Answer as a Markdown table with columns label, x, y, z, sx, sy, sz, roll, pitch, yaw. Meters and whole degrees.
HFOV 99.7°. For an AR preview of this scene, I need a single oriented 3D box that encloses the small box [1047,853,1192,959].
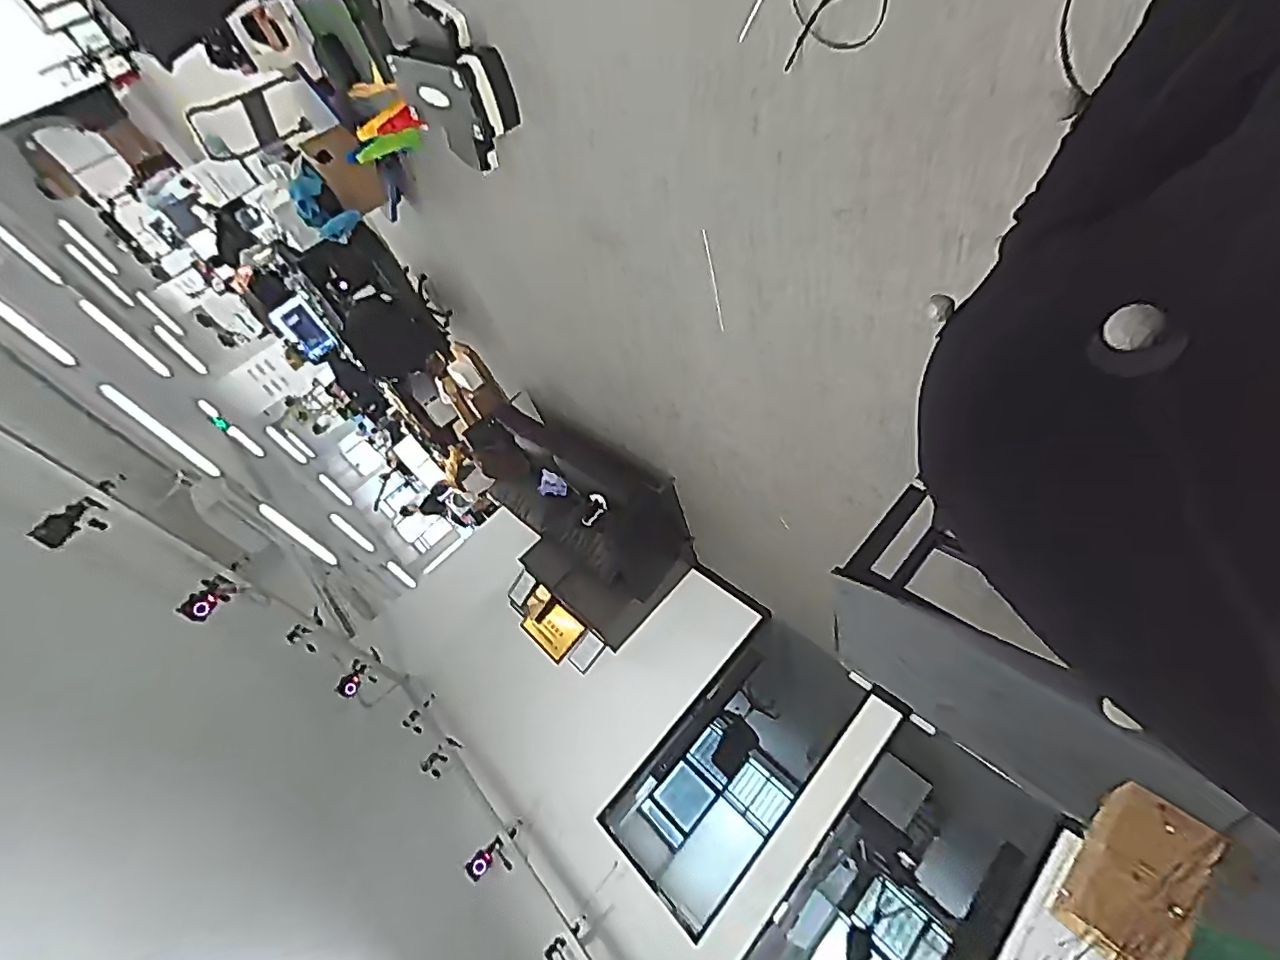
| label | x | y | z | sx | sy | sz | roll | pitch | yaw |
| --- | --- | --- | --- | --- | --- | --- | --- | --- | --- |
| small box | 1.035 | 0.947 | 1.170 | 0.168 | 0.176 | 0.179 | 33 | 158 | 36 |

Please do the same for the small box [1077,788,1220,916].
| label | x | y | z | sx | sy | sz | roll | pitch | yaw |
| --- | --- | --- | --- | --- | --- | --- | --- | --- | --- |
| small box | 1.145 | 0.838 | 1.222 | 0.168 | 0.176 | 0.179 | 31 | 156 | 37 |
